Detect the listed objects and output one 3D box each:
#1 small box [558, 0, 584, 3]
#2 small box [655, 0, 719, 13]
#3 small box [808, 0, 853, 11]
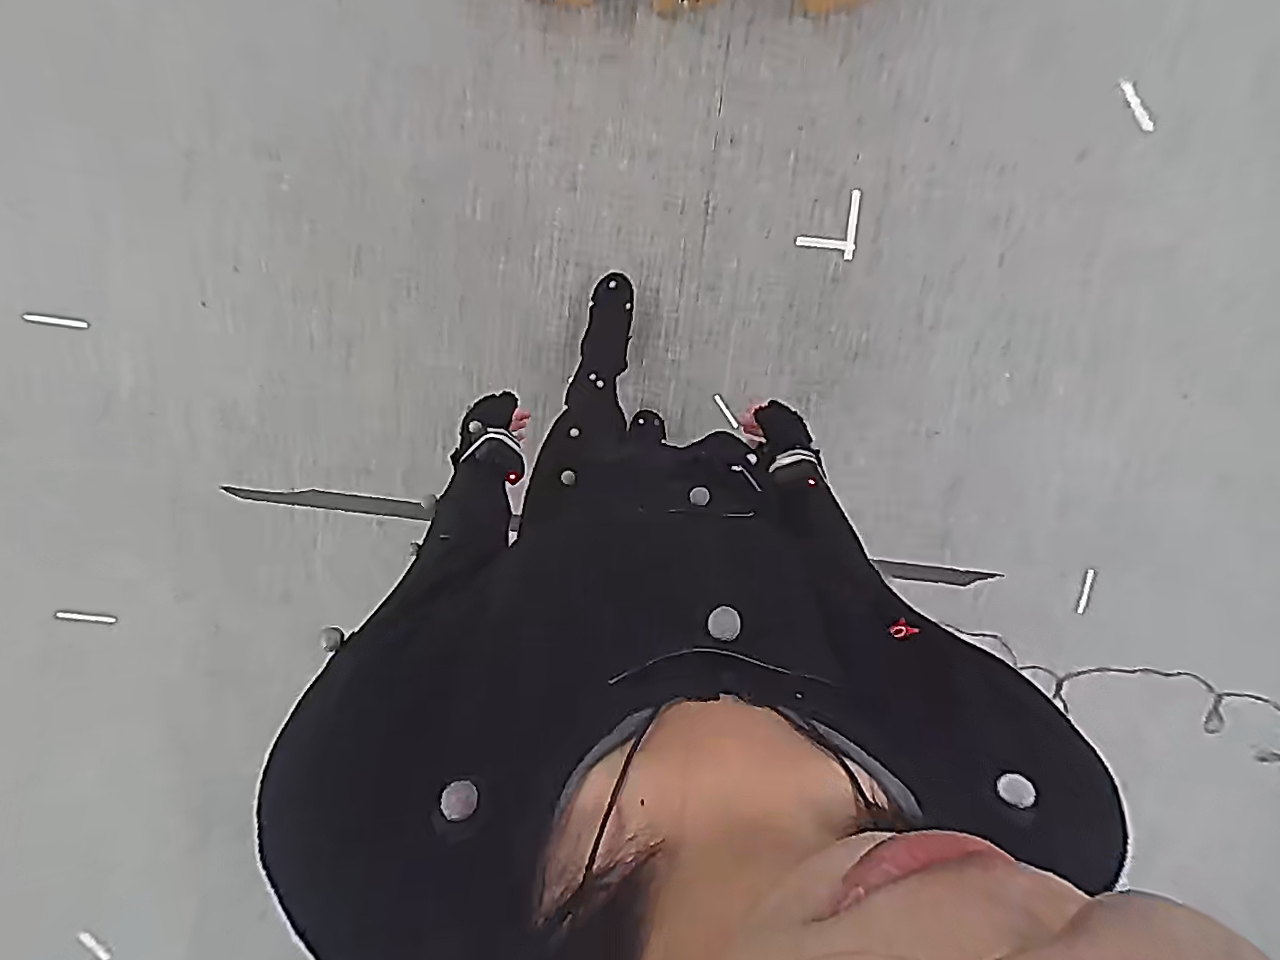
[{"bbox_3d":[-0.190,-1.234,1.225,0.179,0.176,0.168,5,99,-4],"label":"small box"},{"bbox_3d":[0.107,-1.230,1.234,0.168,0.176,0.179,-12,100,1],"label":"small box"},{"bbox_3d":[0.481,-1.240,1.244,0.179,0.176,0.168,-19,100,0],"label":"small box"}]
